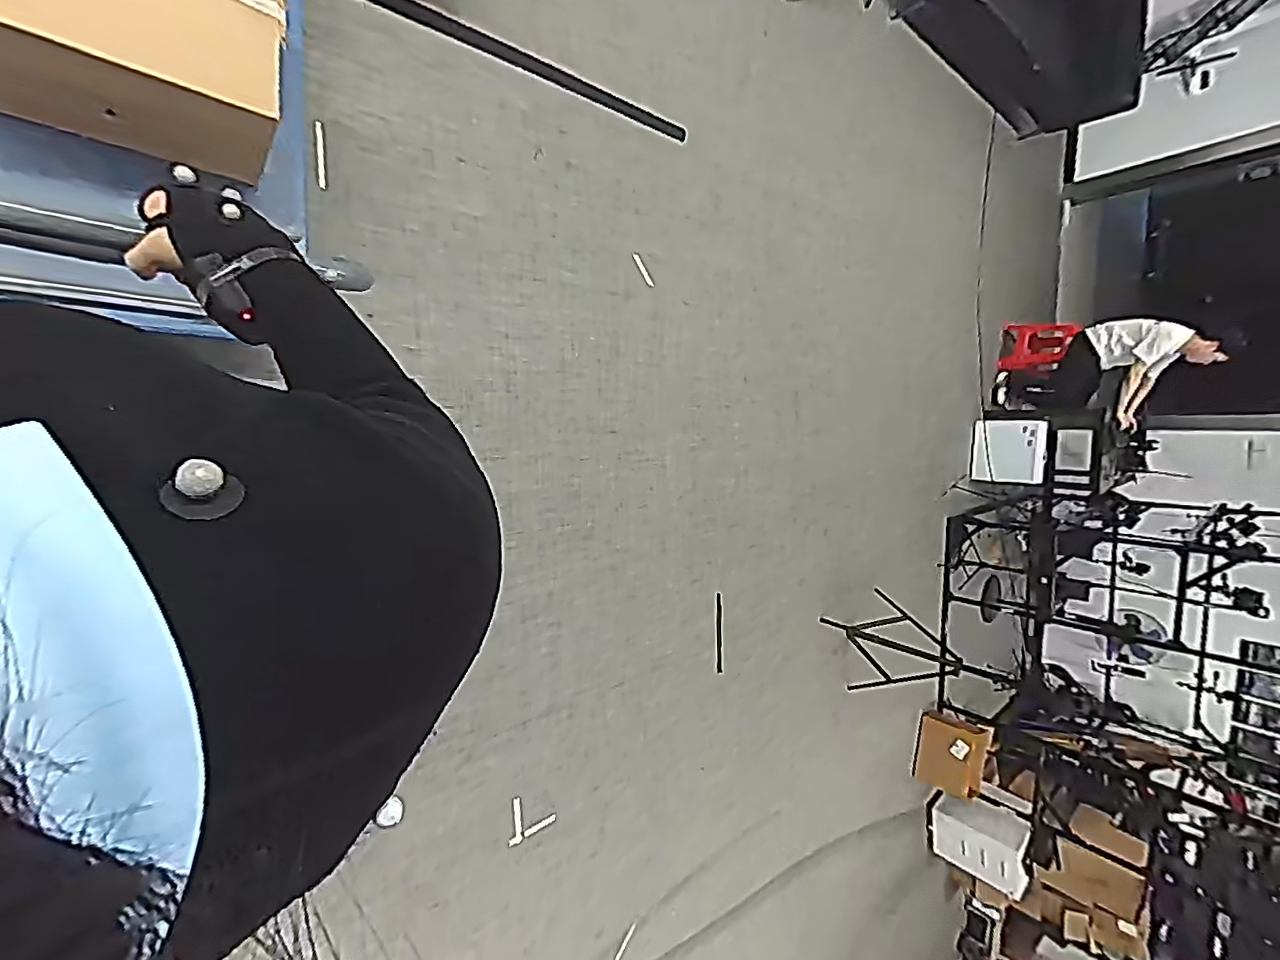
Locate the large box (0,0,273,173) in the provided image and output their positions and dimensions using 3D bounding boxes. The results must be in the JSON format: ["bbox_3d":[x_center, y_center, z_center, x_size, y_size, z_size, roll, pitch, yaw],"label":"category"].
[{"bbox_3d":[-0.818,-0.735,0.825,0.408,0.320,0.320,-1,95,-40],"label":"large box"}]
